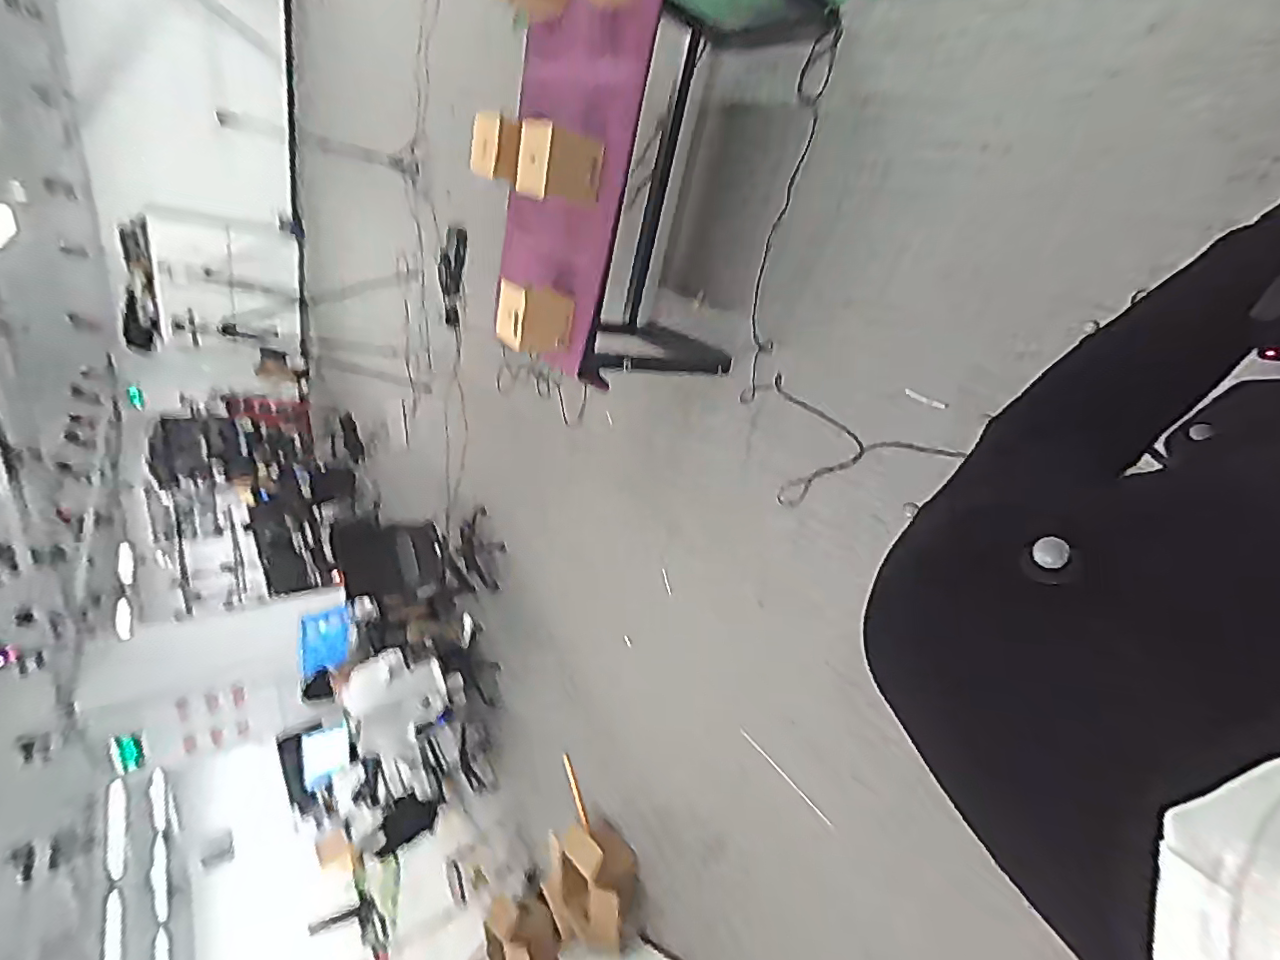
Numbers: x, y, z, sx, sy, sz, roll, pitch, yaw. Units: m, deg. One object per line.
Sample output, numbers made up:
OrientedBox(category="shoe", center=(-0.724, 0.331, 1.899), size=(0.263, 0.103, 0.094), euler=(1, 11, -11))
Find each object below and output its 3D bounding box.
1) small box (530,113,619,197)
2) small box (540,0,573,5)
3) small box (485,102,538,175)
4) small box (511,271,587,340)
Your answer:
OrientedBox(category="small box", center=(-0.185, -0.903, 1.509), size=(0.179, 0.176, 0.168), euler=(41, 127, 42))
OrientedBox(category="small box", center=(-0.273, -1.470, 1.514), size=(0.179, 0.176, 0.168), euler=(38, 127, 41))
OrientedBox(category="small box", center=(-0.371, -1.073, 1.716), size=(0.179, 0.176, 0.168), euler=(40, 125, 38))
OrientedBox(category="small box", center=(-0.286, -0.544, 1.695), size=(0.179, 0.176, 0.168), euler=(41, 126, 42))
